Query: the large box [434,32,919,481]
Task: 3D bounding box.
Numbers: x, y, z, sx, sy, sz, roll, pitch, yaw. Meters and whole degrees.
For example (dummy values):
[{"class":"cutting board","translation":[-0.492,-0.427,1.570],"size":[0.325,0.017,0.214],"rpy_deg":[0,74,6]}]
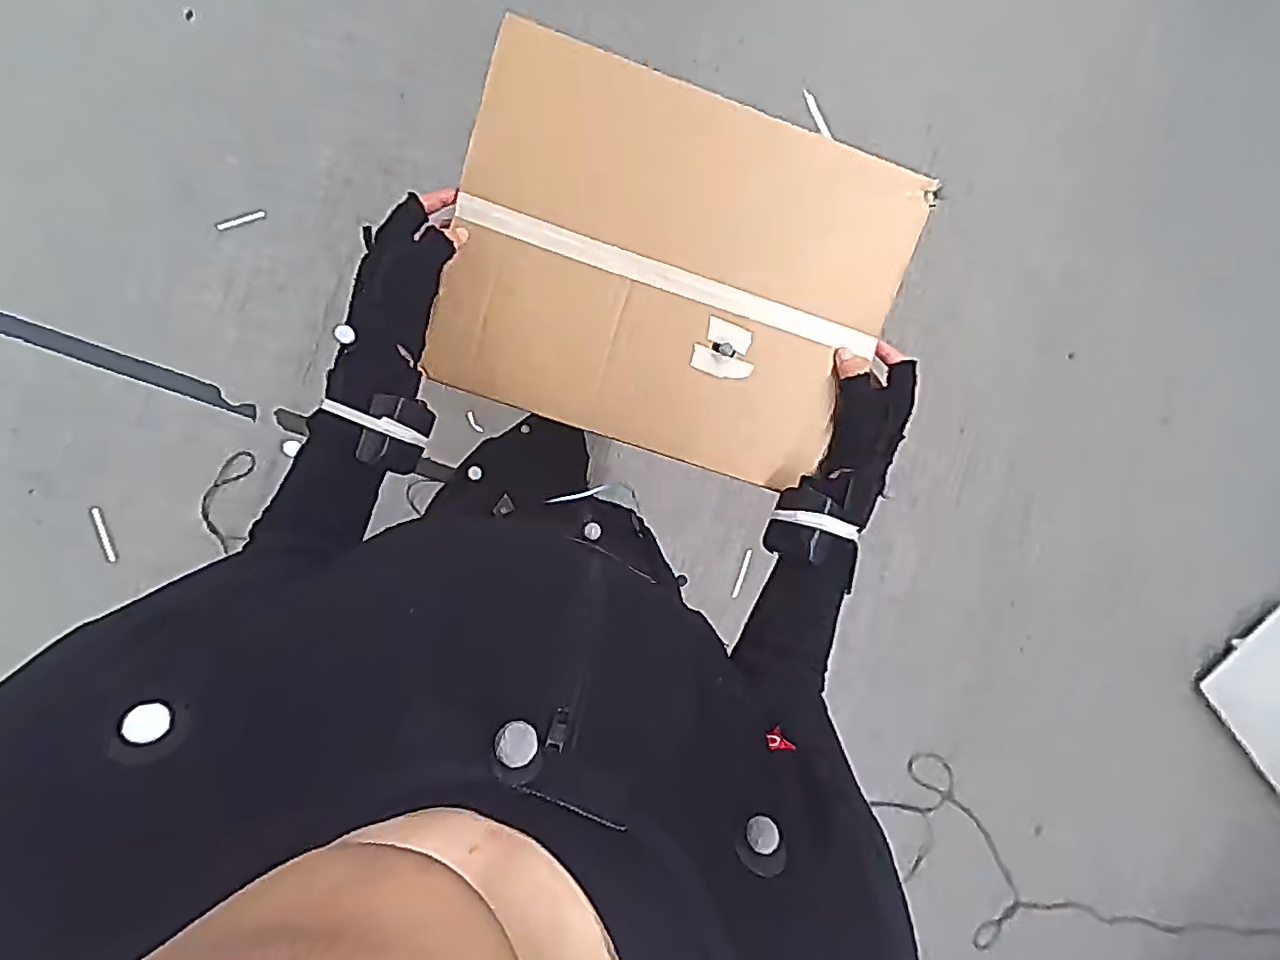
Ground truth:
[{"class":"large box","translation":[0.024,-0.224,0.661],"size":[0.408,0.320,0.320],"rpy_deg":[18,101,-6]}]
